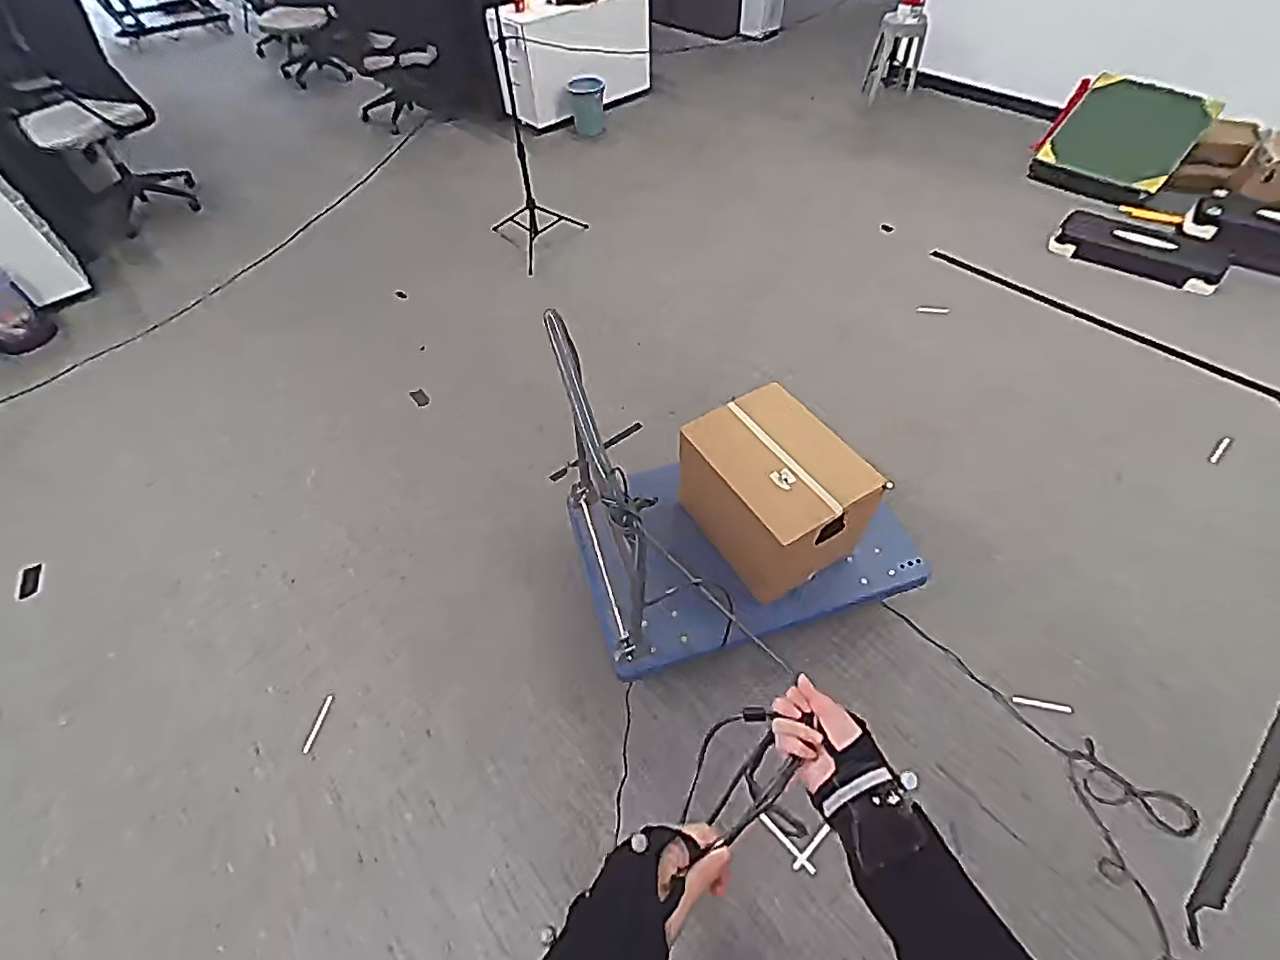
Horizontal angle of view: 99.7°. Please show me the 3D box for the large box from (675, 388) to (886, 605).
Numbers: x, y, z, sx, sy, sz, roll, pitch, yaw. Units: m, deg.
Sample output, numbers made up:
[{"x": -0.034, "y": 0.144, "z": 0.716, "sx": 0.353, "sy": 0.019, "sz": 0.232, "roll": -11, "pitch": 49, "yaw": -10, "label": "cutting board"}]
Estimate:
[{"x": 0.329, "y": 0.038, "z": 1.401, "sx": 0.320, "sy": 0.320, "sz": 0.408, "roll": -27, "pitch": 57, "yaw": -17, "label": "large box"}]
